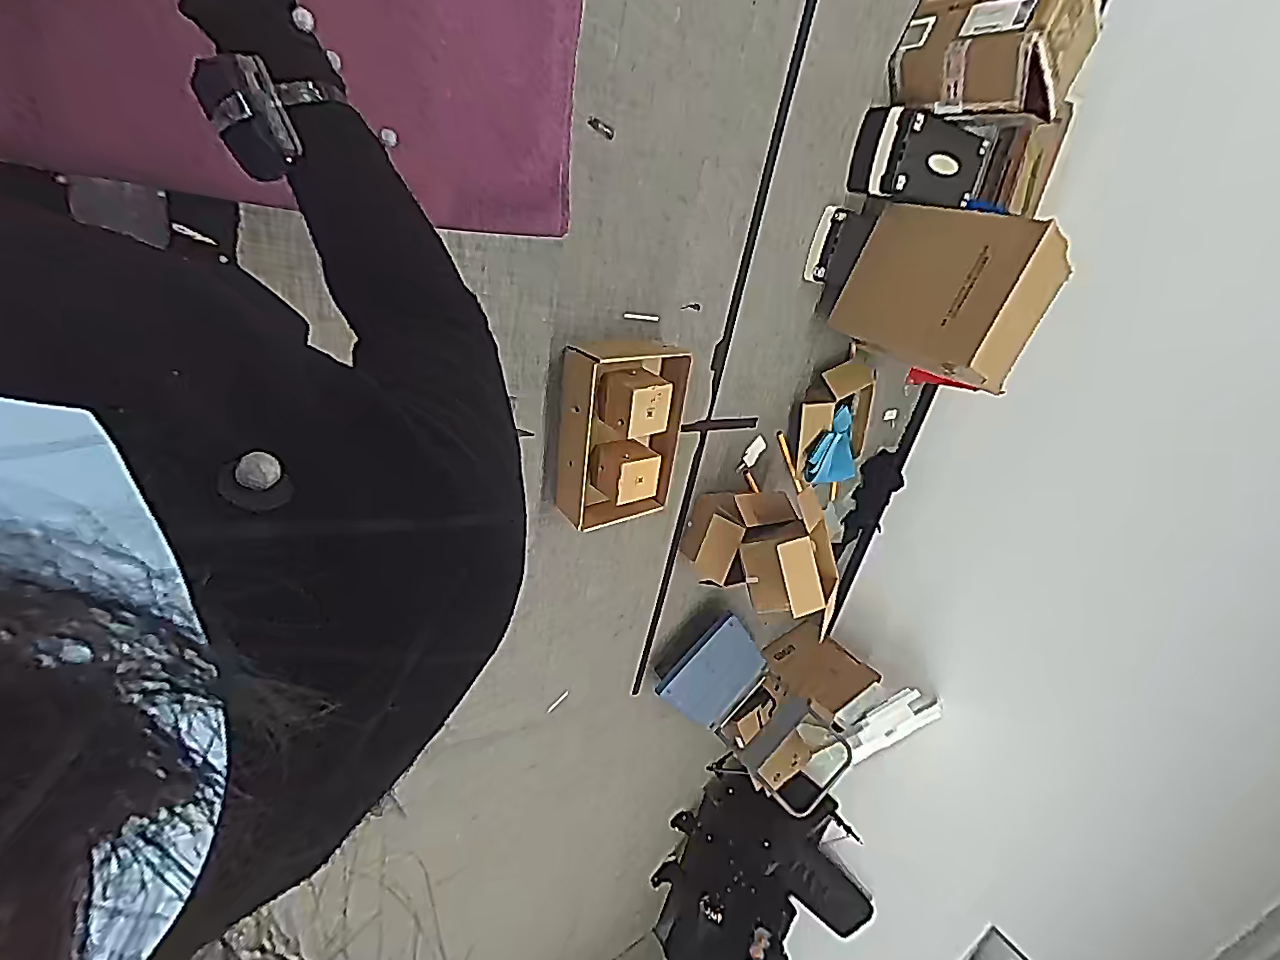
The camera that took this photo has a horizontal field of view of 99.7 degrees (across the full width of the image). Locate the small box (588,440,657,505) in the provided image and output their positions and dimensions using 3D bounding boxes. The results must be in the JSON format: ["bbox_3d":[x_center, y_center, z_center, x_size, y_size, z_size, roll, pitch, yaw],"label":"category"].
[{"bbox_3d":[-0.065,-0.035,1.941,0.179,0.176,0.168,-13,124,-36],"label":"small box"}]

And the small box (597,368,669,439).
[{"bbox_3d":[-0.029,-0.261,1.819,0.168,0.176,0.179,-16,127,-36],"label":"small box"}]
